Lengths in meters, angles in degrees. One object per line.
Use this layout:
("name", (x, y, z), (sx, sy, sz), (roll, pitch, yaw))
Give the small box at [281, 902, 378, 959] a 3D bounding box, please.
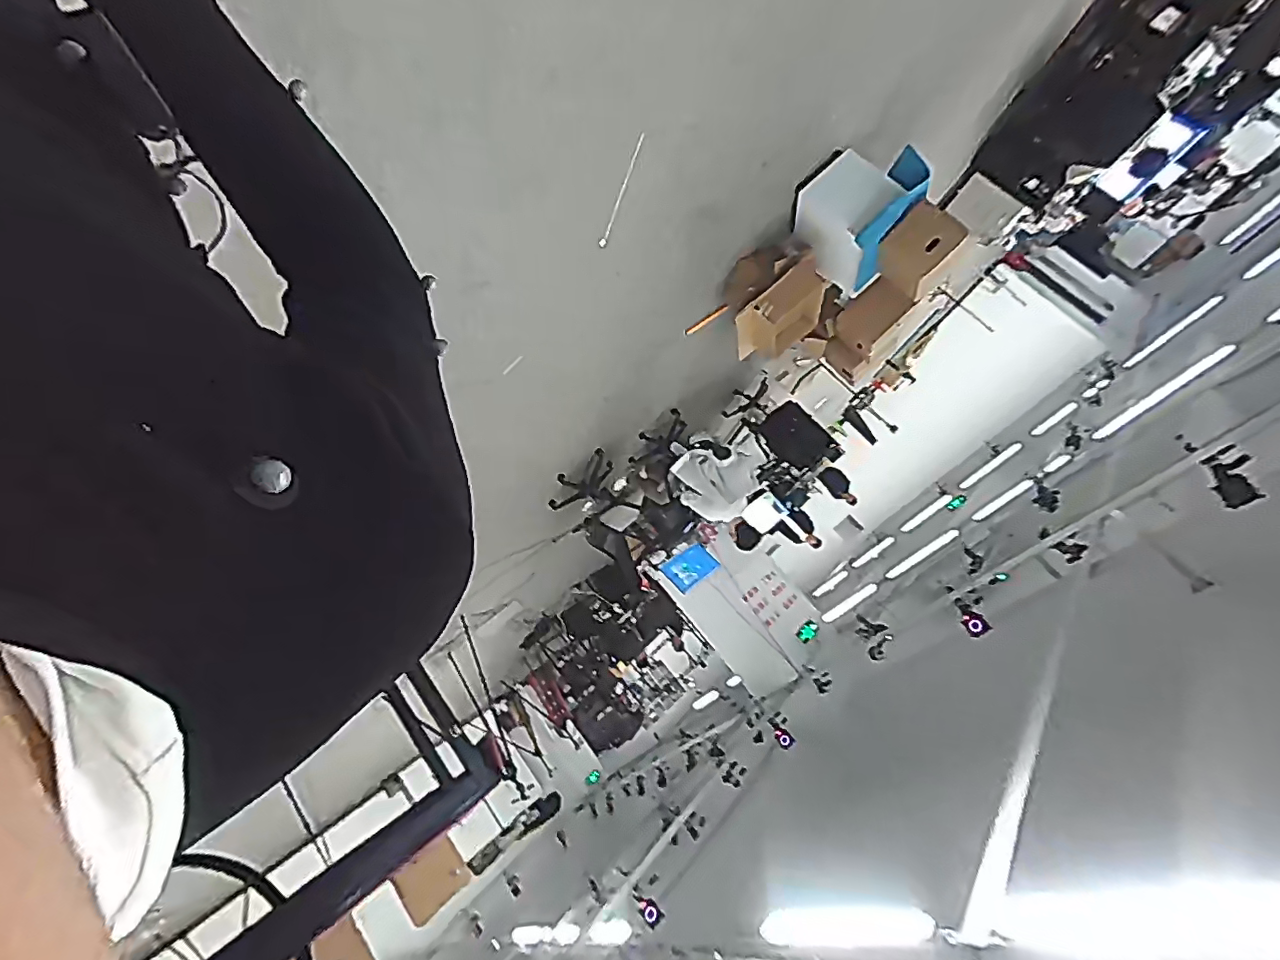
("small box", (-0.832, 1.282, 1.439), (0.179, 0.176, 0.168), (-26, 160, -45))
